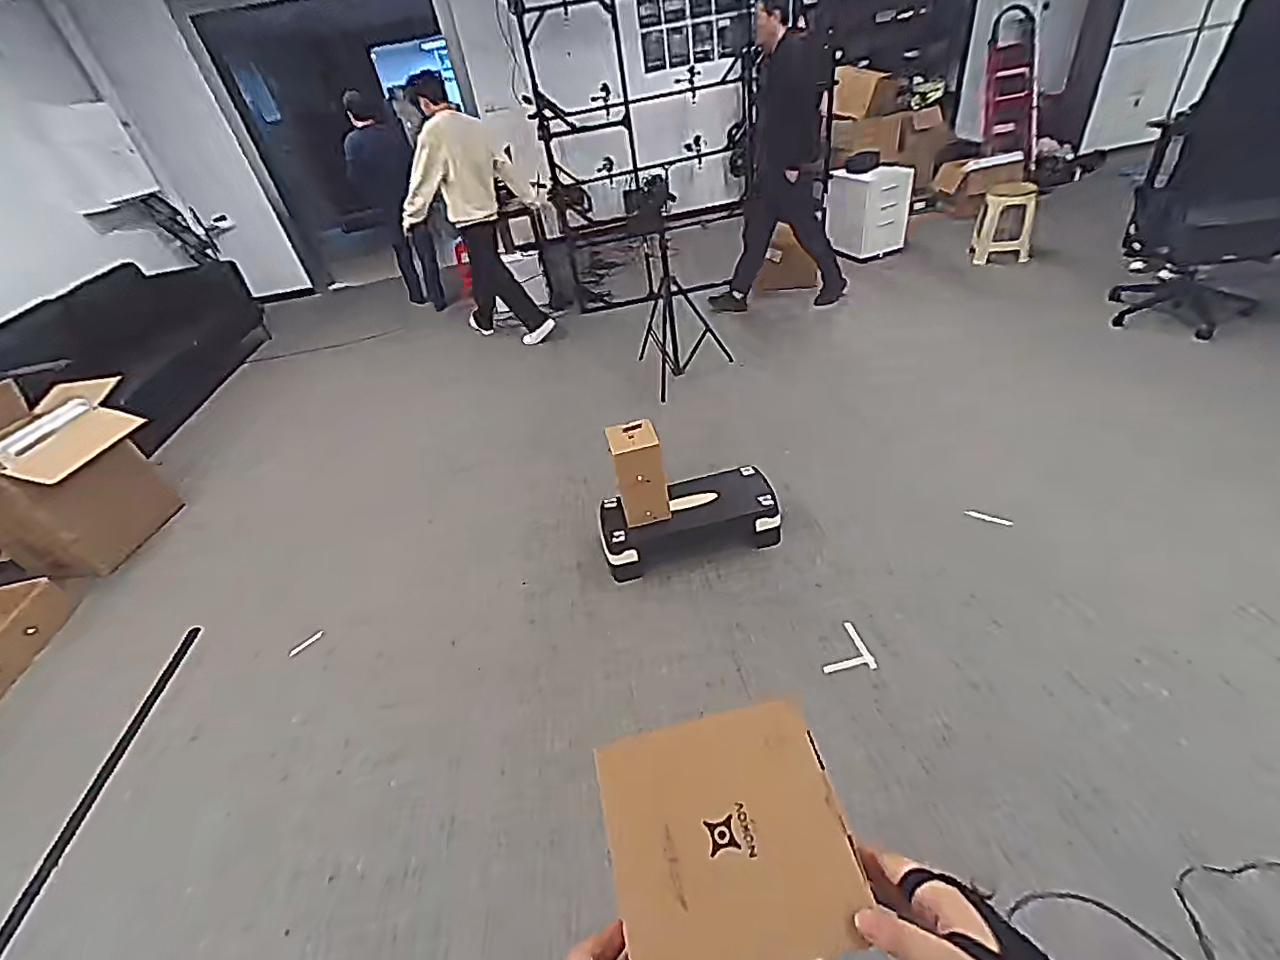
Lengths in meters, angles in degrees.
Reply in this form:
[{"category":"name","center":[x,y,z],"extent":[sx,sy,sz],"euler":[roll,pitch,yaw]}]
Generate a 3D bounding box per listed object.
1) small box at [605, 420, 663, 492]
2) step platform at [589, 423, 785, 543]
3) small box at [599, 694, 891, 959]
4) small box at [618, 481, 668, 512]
[{"category":"small box","center":[-0.022,-0.085,1.921],"extent":[0.168,0.176,0.179],"euler":[-14,38,-4]},{"category":"step platform","center":[0.168,0.010,1.965],"extent":[0.684,0.204,0.286],"euler":[-13,37,-4]},{"category":"small box","center":[0.074,0.306,0.464],"extent":[0.179,0.176,0.168],"euler":[-15,54,-3]},{"category":"small box","center":[0.005,0.046,2.015],"extent":[0.168,0.176,0.179],"euler":[-13,37,-3]}]
